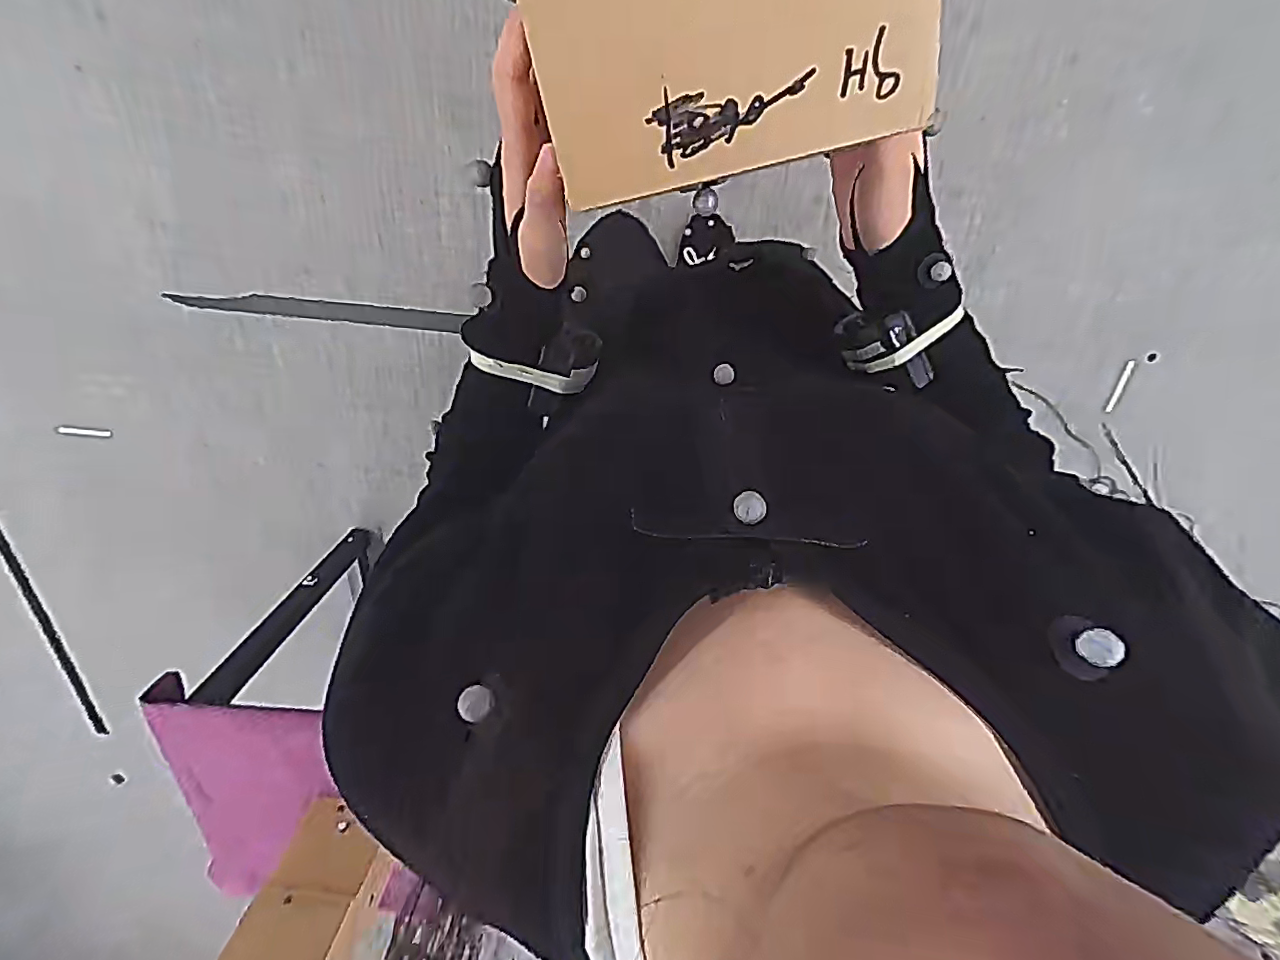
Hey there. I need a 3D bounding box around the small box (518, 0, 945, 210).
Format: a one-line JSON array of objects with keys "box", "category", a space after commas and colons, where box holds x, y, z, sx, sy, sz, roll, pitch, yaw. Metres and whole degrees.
[{"box": [0.029, -0.246, 0.271, 0.168, 0.176, 0.179, -11, 117, 6], "category": "small box"}]

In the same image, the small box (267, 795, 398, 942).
[{"box": [-0.598, 0.770, 1.077, 0.168, 0.176, 0.179, 10, 116, -3], "category": "small box"}]

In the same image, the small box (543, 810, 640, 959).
[{"box": [-0.091, 0.791, 1.064, 0.168, 0.176, 0.179, 6, 115, -1], "category": "small box"}]
